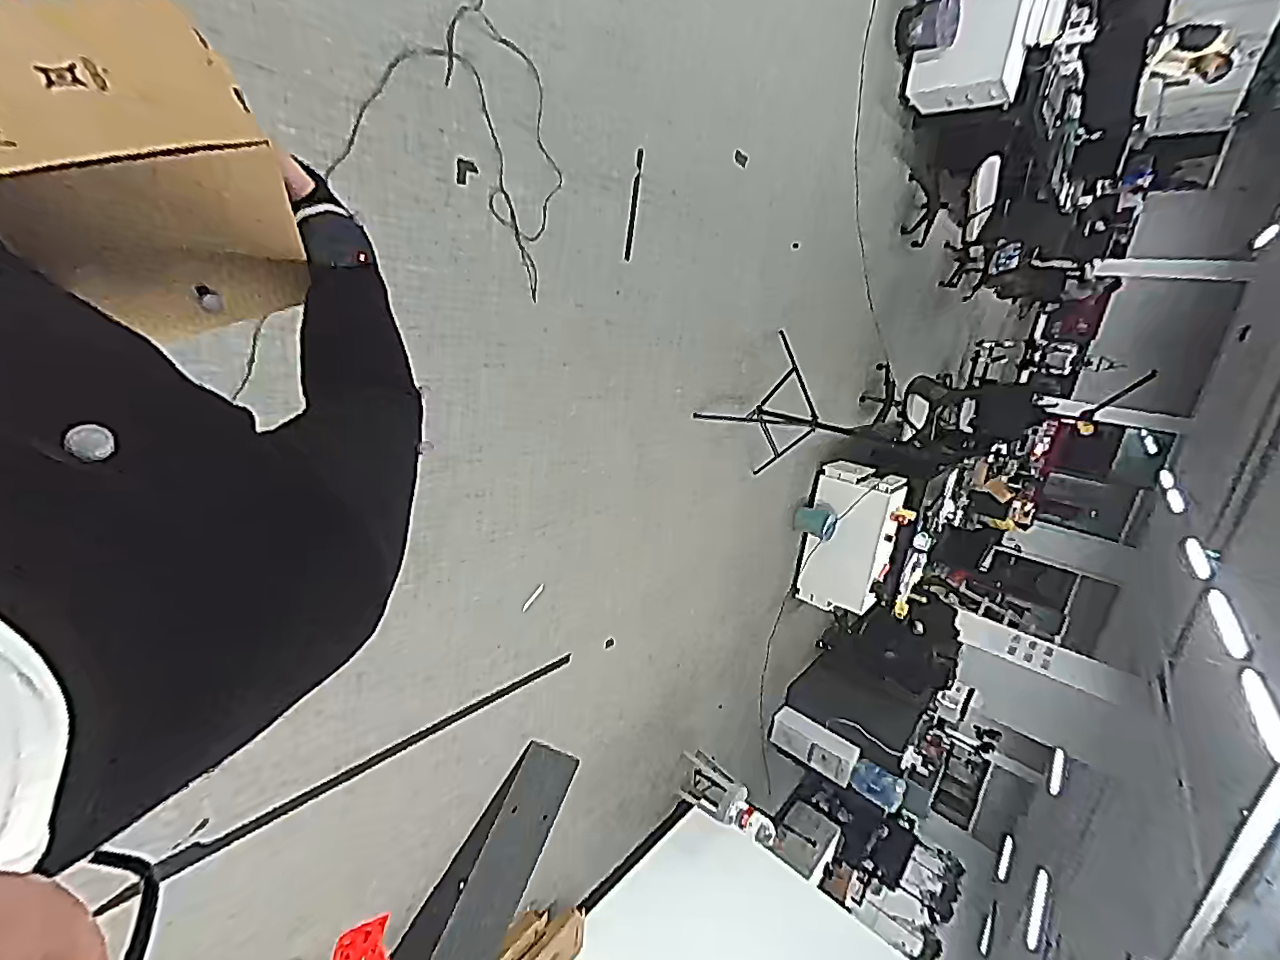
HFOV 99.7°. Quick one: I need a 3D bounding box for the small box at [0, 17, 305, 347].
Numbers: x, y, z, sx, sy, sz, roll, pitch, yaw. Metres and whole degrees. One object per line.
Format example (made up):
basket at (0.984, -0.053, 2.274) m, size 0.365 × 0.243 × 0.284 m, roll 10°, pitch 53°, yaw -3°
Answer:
small box at (-0.415, -0.245, 0.460) m, size 0.179 × 0.168 × 0.176 m, roll -30°, pitch 167°, yaw -29°
